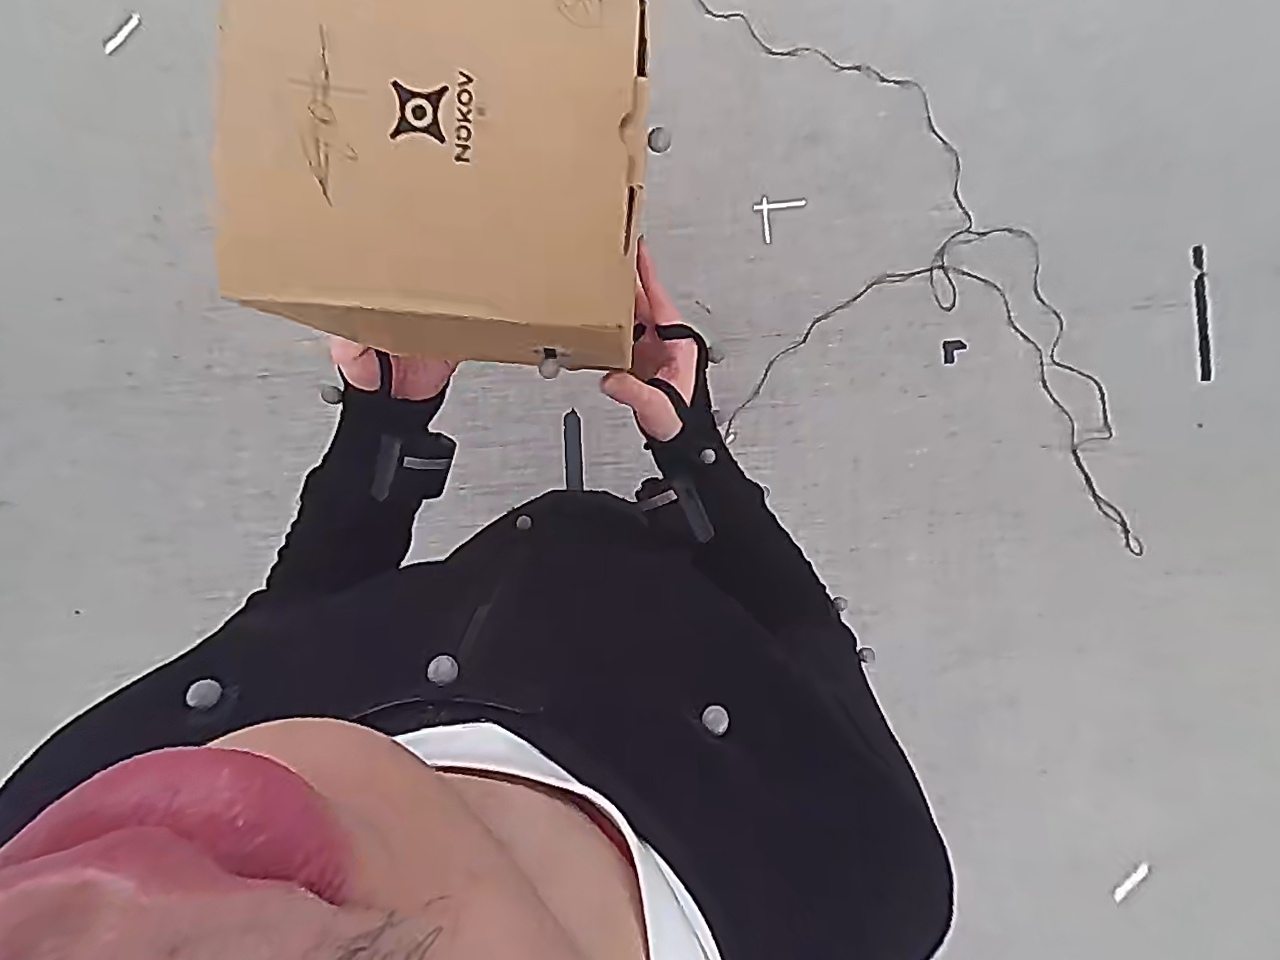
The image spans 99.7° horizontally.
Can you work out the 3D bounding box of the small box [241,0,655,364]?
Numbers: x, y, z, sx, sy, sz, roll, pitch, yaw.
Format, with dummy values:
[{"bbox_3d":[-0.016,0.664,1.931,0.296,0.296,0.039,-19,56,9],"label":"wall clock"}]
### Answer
[{"bbox_3d":[-0.087,-0.163,0.316,0.179,0.176,0.168,3,95,-2],"label":"small box"}]
